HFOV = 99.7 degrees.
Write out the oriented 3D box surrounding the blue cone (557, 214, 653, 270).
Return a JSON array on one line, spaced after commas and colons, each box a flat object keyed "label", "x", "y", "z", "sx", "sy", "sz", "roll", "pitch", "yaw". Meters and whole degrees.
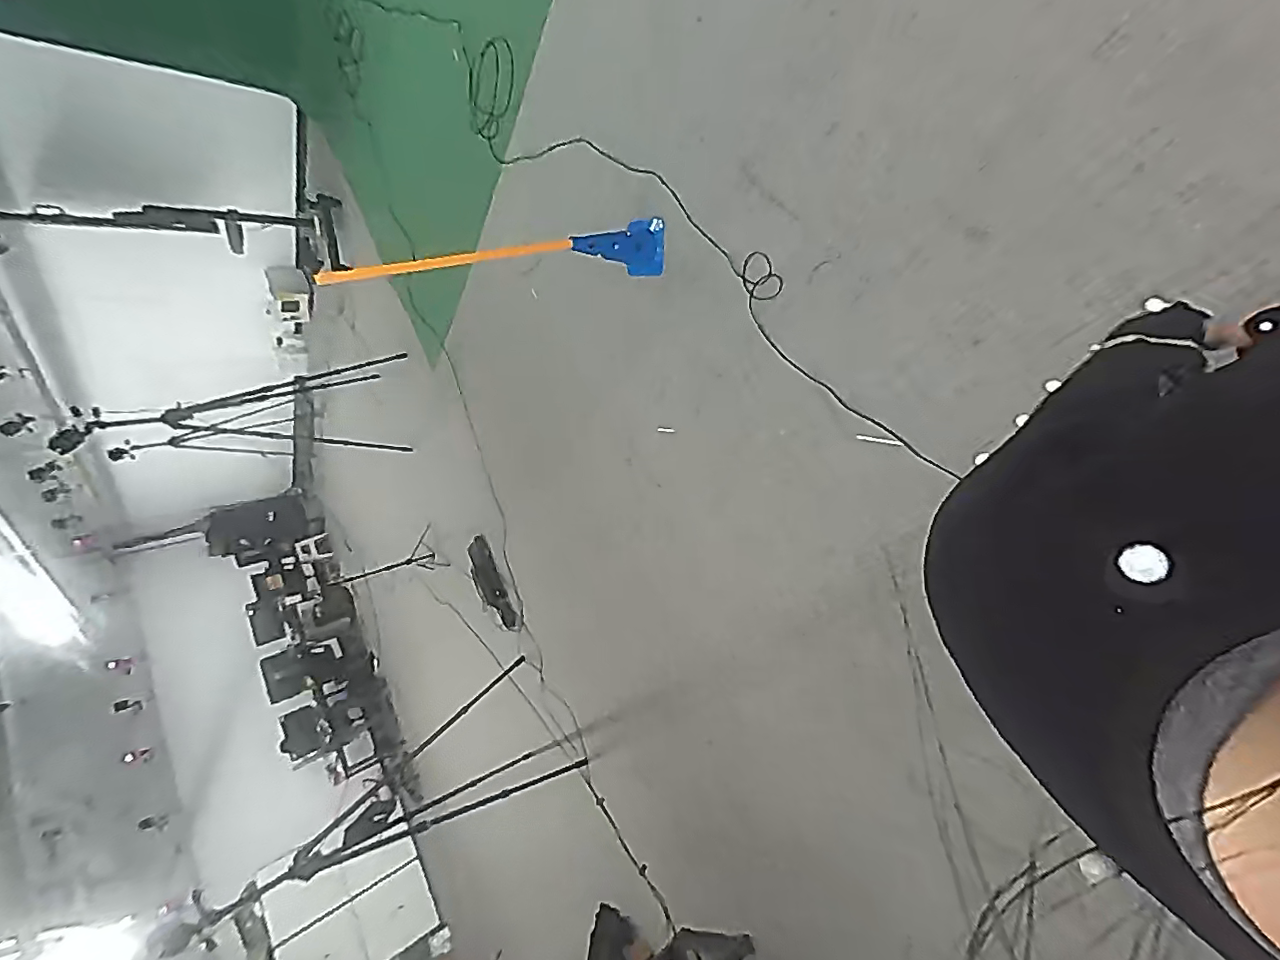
[{"label": "blue cone", "x": -0.134, "y": -0.866, "z": 1.959, "sx": 0.192, "sy": 0.380, "sz": 0.193, "roll": 18, "pitch": 118, "yaw": 43}]
